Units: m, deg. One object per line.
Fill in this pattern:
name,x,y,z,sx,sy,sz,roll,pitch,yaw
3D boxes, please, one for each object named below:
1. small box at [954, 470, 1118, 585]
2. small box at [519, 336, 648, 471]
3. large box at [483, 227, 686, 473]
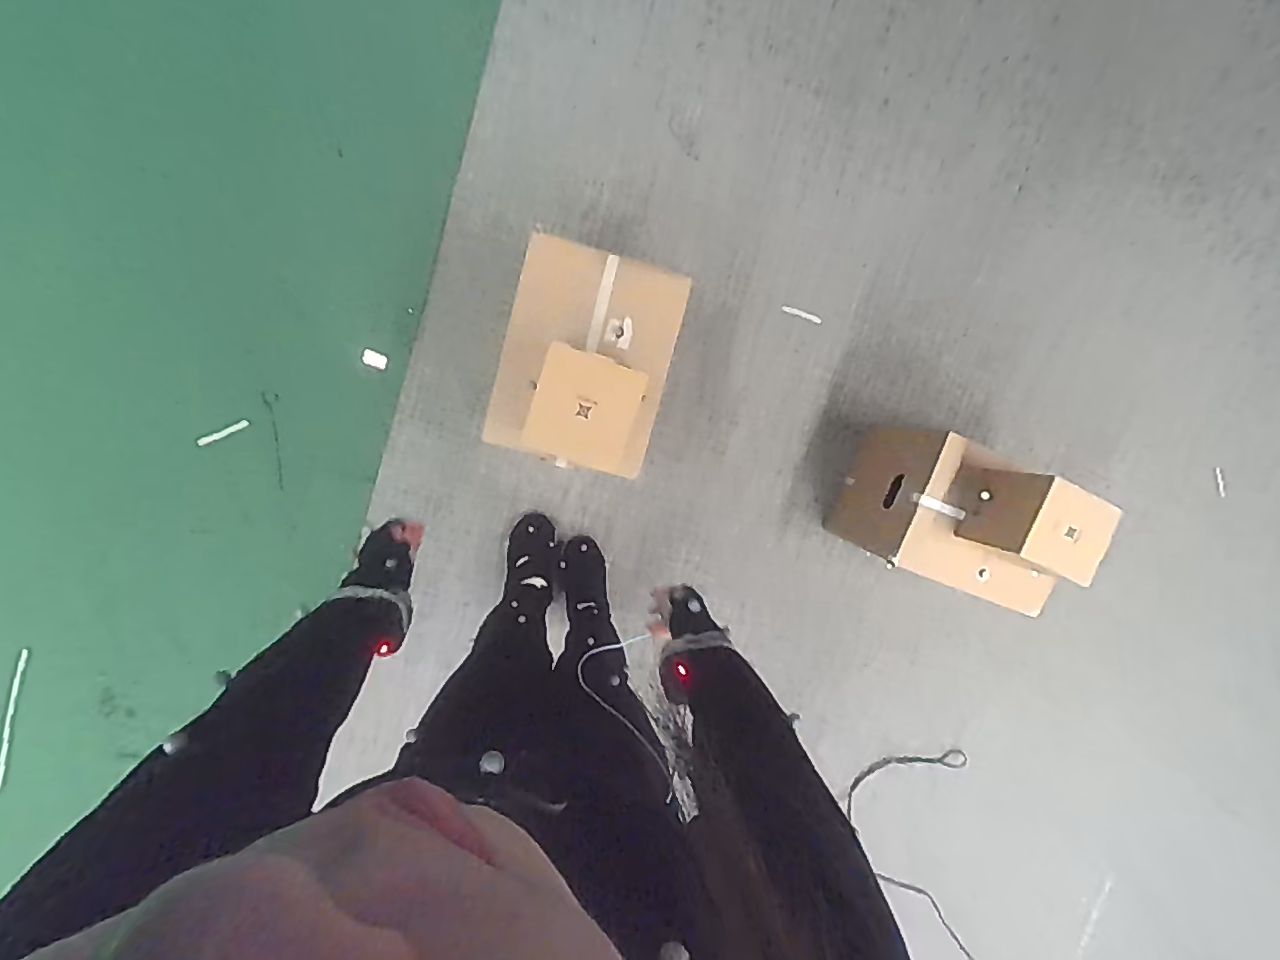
small box,0.797,0.087,1.103,0.179,0.176,0.168,24,92,-11
small box,-0.100,-0.131,0.943,0.168,0.176,0.179,18,95,-11
large box,-0.122,-0.255,1.172,0.320,0.320,0.408,15,96,-10
